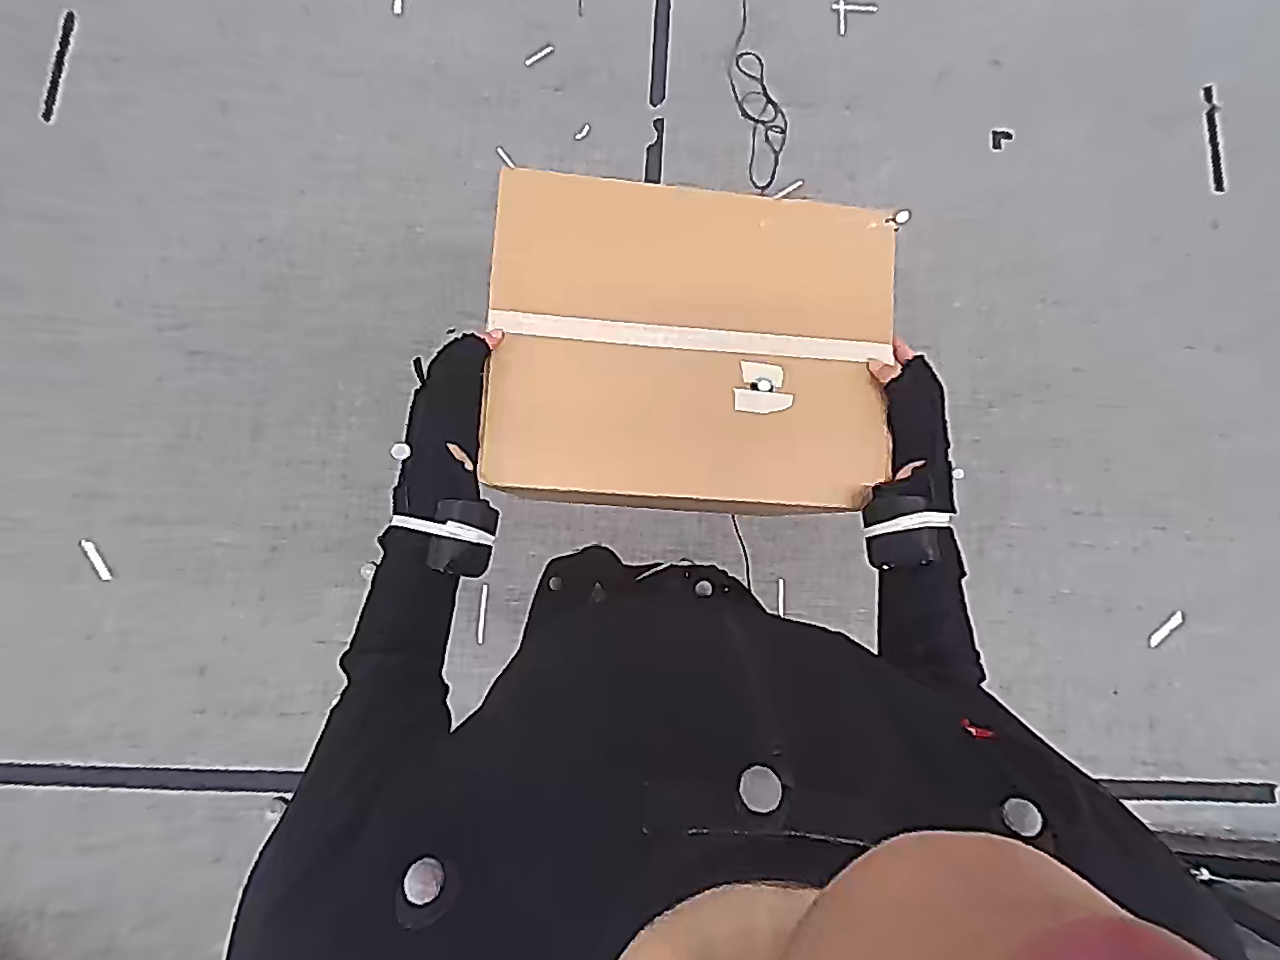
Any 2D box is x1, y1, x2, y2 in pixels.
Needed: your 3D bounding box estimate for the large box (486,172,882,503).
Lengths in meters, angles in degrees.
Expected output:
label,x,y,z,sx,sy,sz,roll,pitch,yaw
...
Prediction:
label,x,y,z,sx,sy,sz,roll,pitch,yaw
large box,0.037,-0.137,0.696,0.408,0.320,0.320,4,87,-6
